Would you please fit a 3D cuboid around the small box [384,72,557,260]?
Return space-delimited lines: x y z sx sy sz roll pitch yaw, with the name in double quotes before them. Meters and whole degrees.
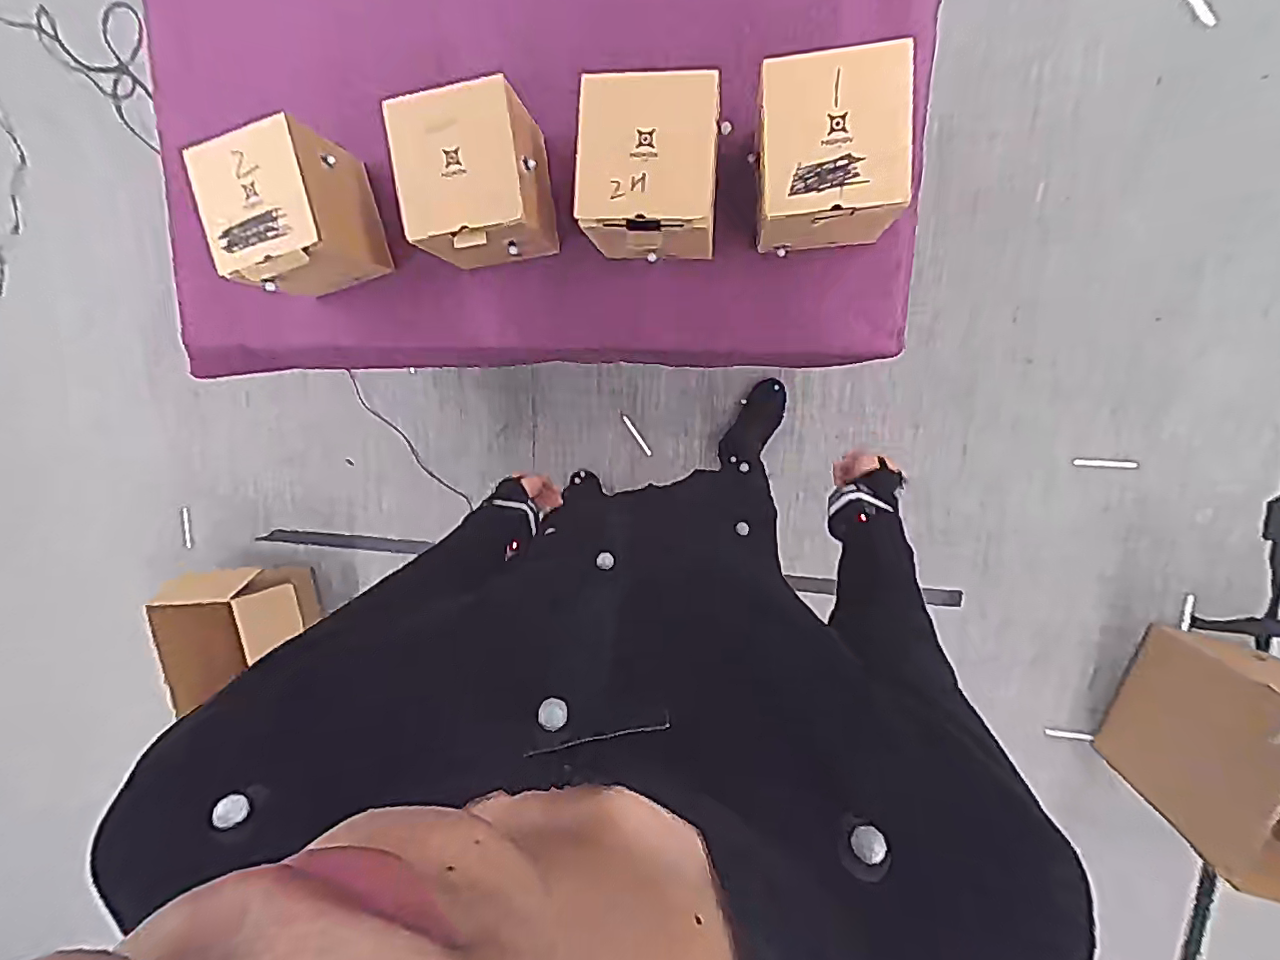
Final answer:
"small box" -0.225 -0.422 0.764 0.168 0.176 0.179 -6 98 9

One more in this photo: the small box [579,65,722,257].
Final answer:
"small box" 0.019 -0.415 0.728 0.168 0.176 0.179 4 100 7

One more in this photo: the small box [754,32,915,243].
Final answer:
"small box" 0.237 -0.418 0.696 0.168 0.176 0.179 -2 98 9
